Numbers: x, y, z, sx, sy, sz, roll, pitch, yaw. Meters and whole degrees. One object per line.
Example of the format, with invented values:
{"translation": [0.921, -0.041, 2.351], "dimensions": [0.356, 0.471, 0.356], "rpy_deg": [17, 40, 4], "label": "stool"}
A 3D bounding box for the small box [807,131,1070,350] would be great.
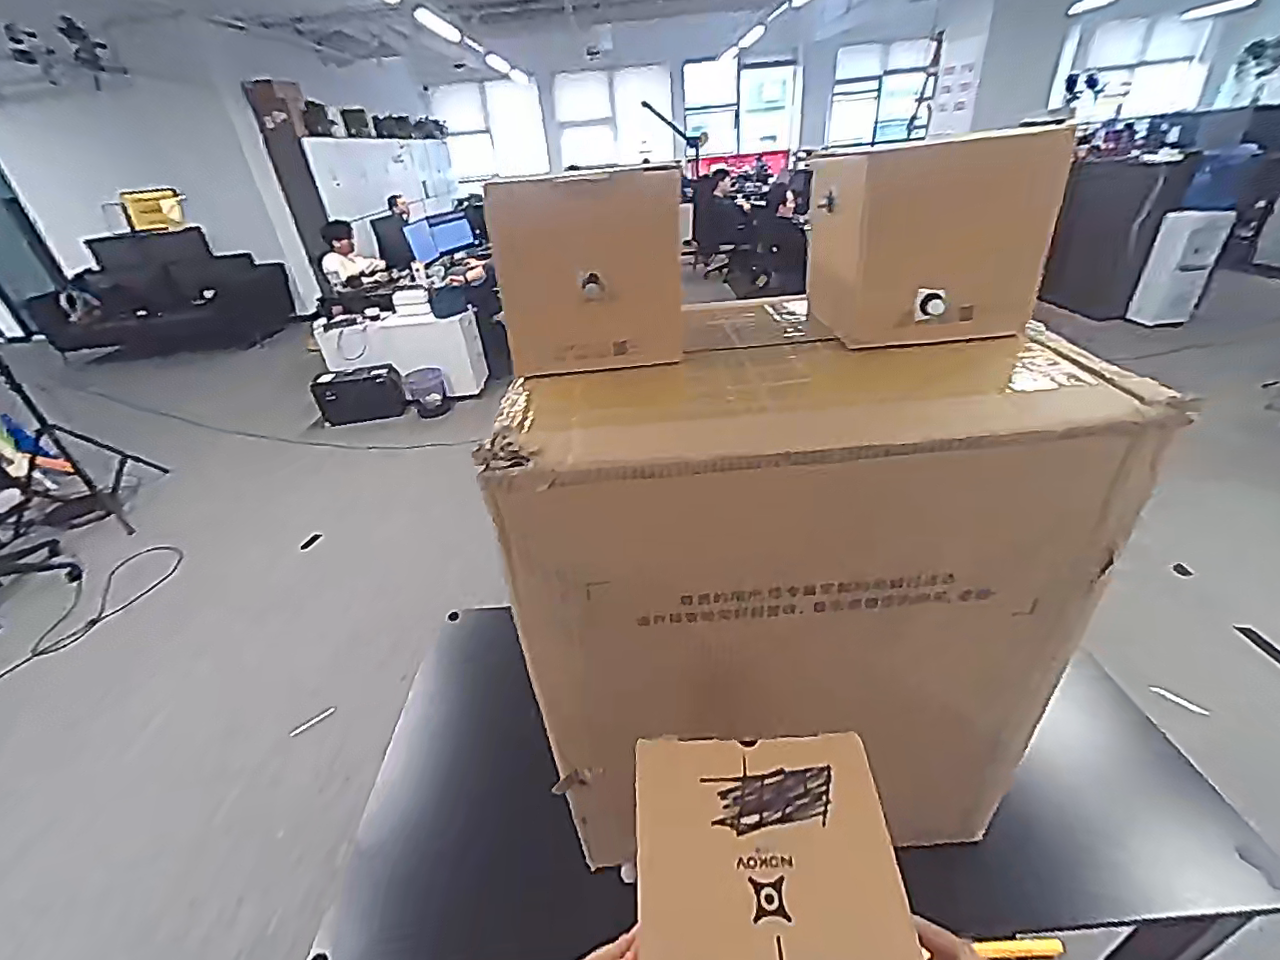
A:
{"translation": [0.272, -0.241, 0.546], "dimensions": [0.168, 0.176, 0.179], "rpy_deg": [-6, 31, 4], "label": "small box"}

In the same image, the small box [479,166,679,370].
{"translation": [-0.054, -0.217, 0.558], "dimensions": [0.168, 0.176, 0.179], "rpy_deg": [-6, 31, -3], "label": "small box"}
